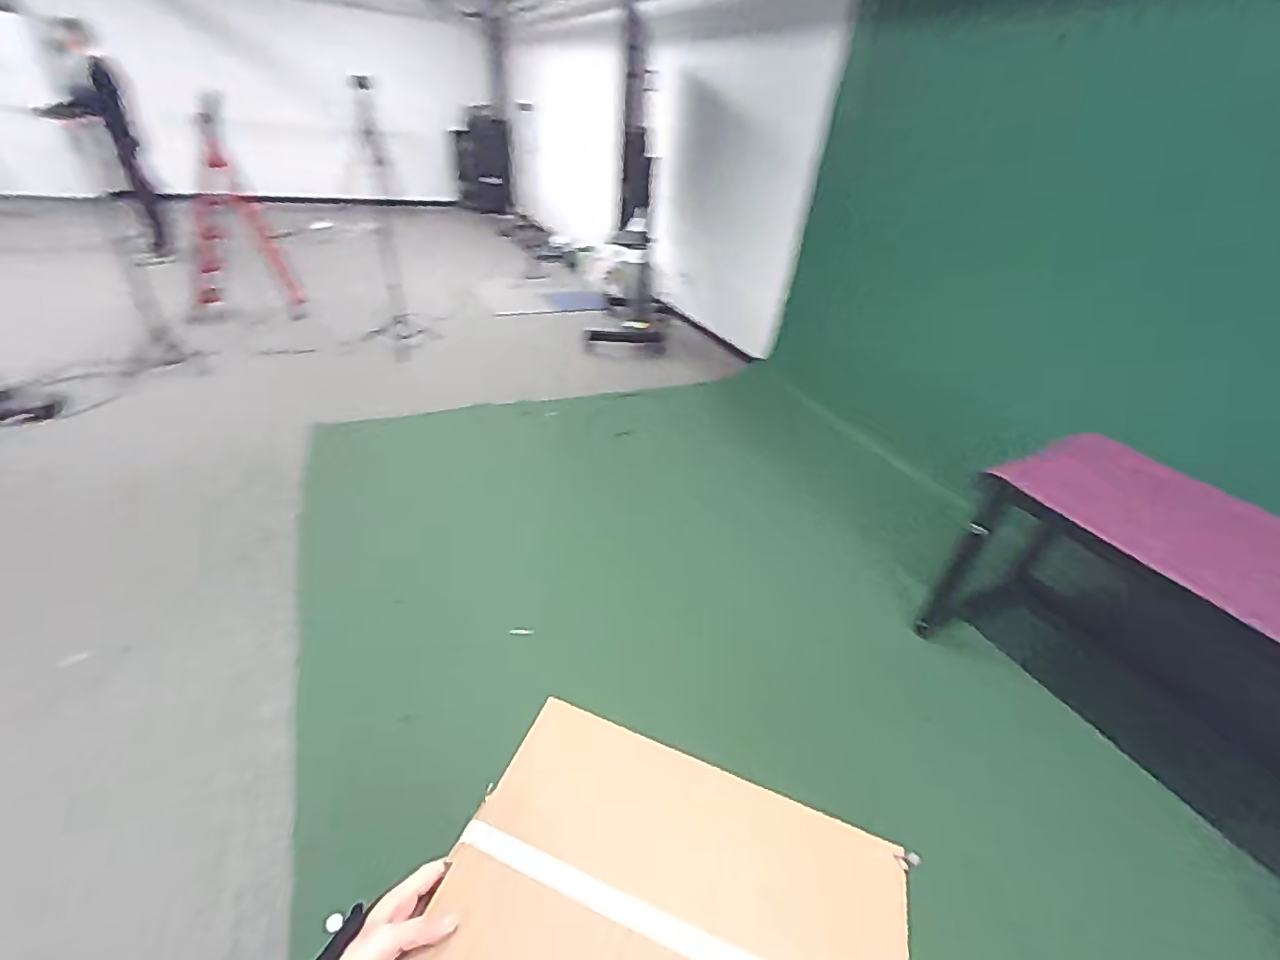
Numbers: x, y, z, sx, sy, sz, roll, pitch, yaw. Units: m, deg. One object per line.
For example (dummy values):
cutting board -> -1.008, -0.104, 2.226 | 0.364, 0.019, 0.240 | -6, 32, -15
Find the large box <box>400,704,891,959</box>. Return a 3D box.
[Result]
large box -> -0.001, 0.514, 0.562 | 0.408, 0.320, 0.320 | 18, 36, 11
